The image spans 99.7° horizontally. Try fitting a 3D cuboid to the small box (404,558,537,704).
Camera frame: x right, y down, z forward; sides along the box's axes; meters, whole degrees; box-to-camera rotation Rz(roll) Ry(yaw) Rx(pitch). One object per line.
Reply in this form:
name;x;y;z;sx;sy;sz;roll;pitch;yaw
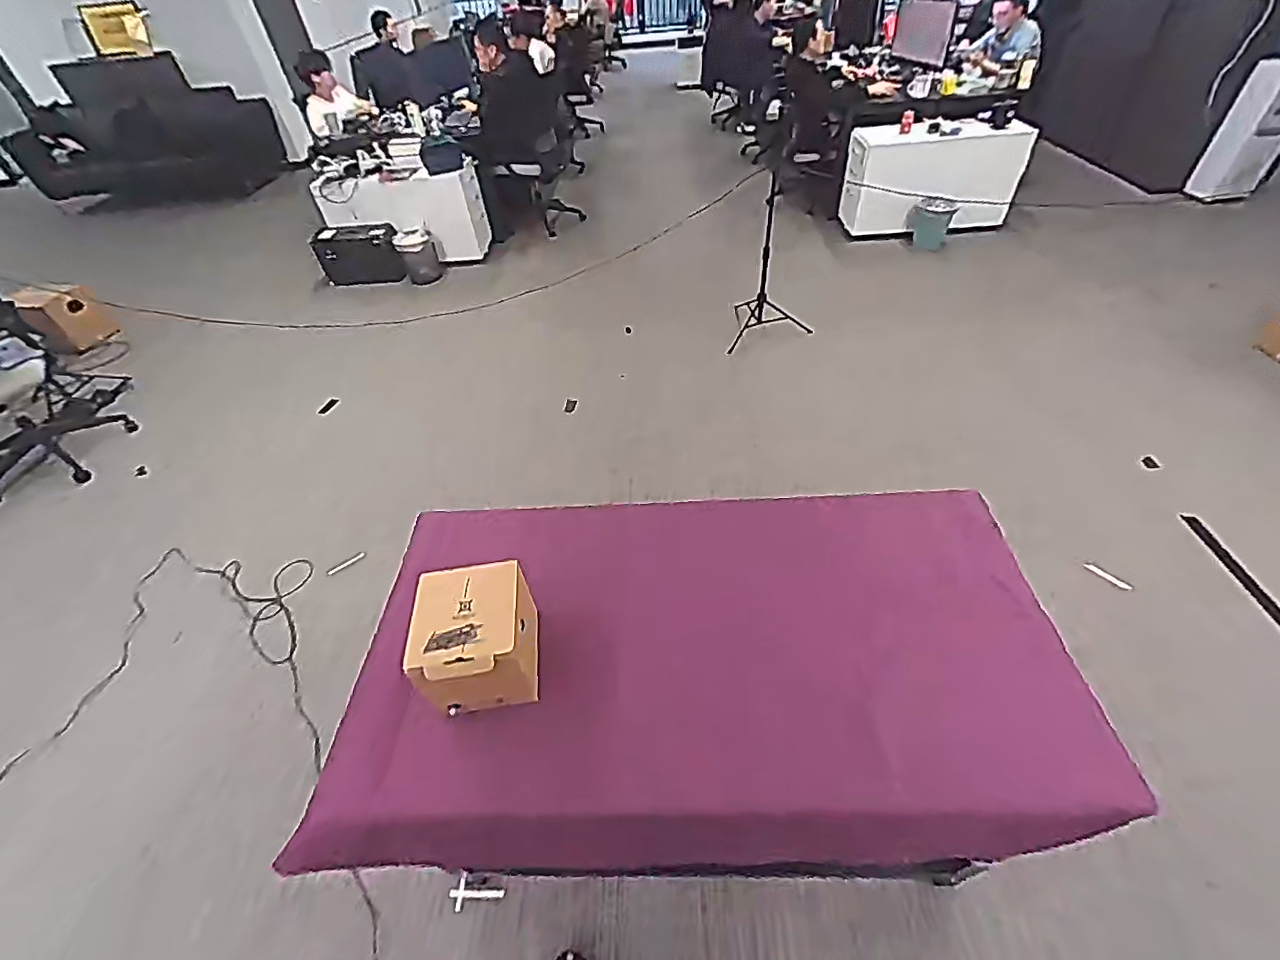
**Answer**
small box;-0.271;0.259;0.909;0.168;0.176;0.179;-8;44;-3
